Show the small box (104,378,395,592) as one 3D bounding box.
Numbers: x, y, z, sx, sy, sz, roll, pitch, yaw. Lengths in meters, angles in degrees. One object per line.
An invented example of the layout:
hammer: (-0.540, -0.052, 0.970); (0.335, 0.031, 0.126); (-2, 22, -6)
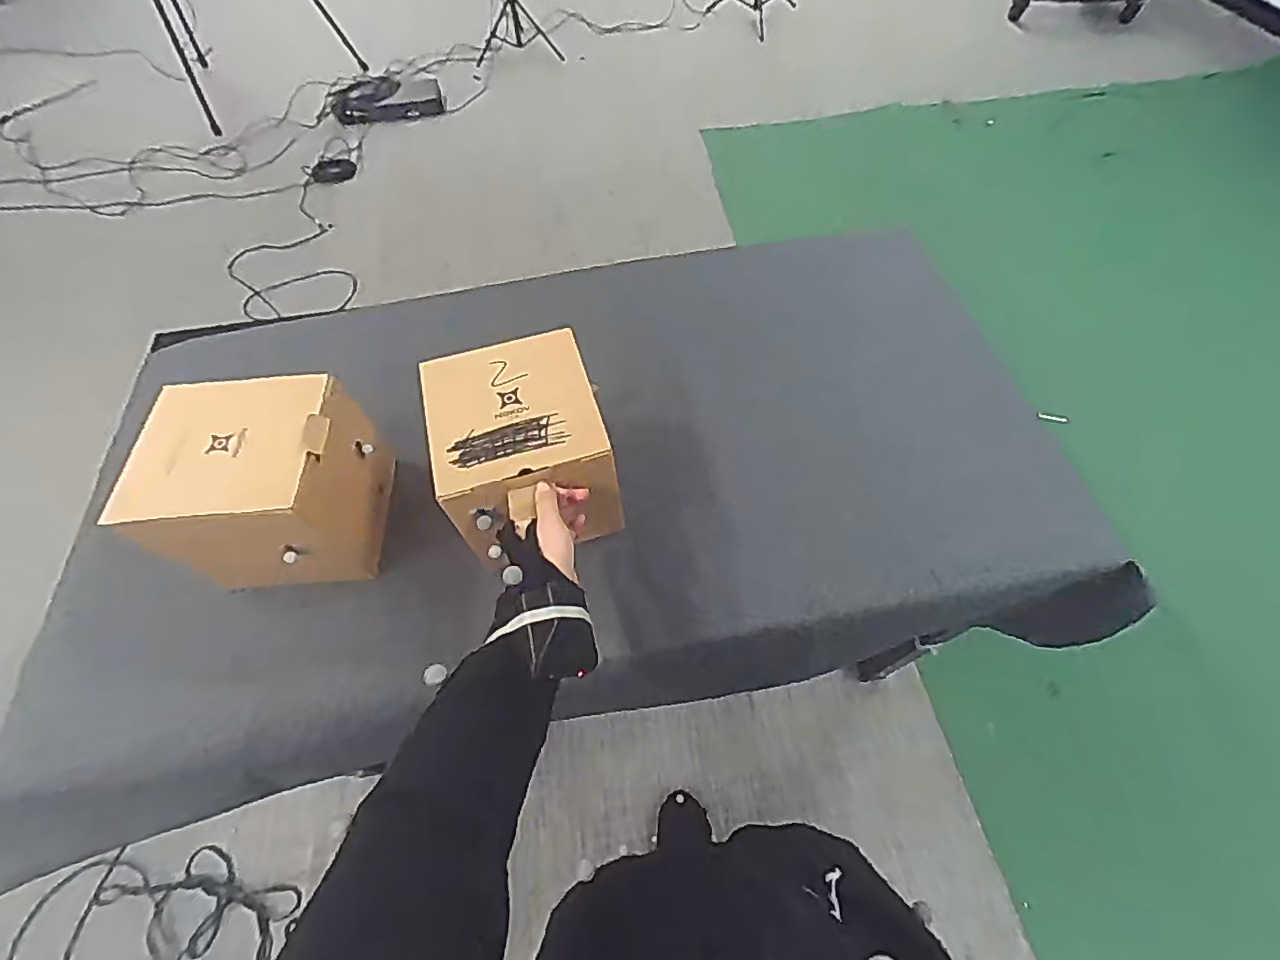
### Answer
small box: (-0.392, 0.012, 0.588); (0.179, 0.176, 0.168); (-5, 57, -1)
